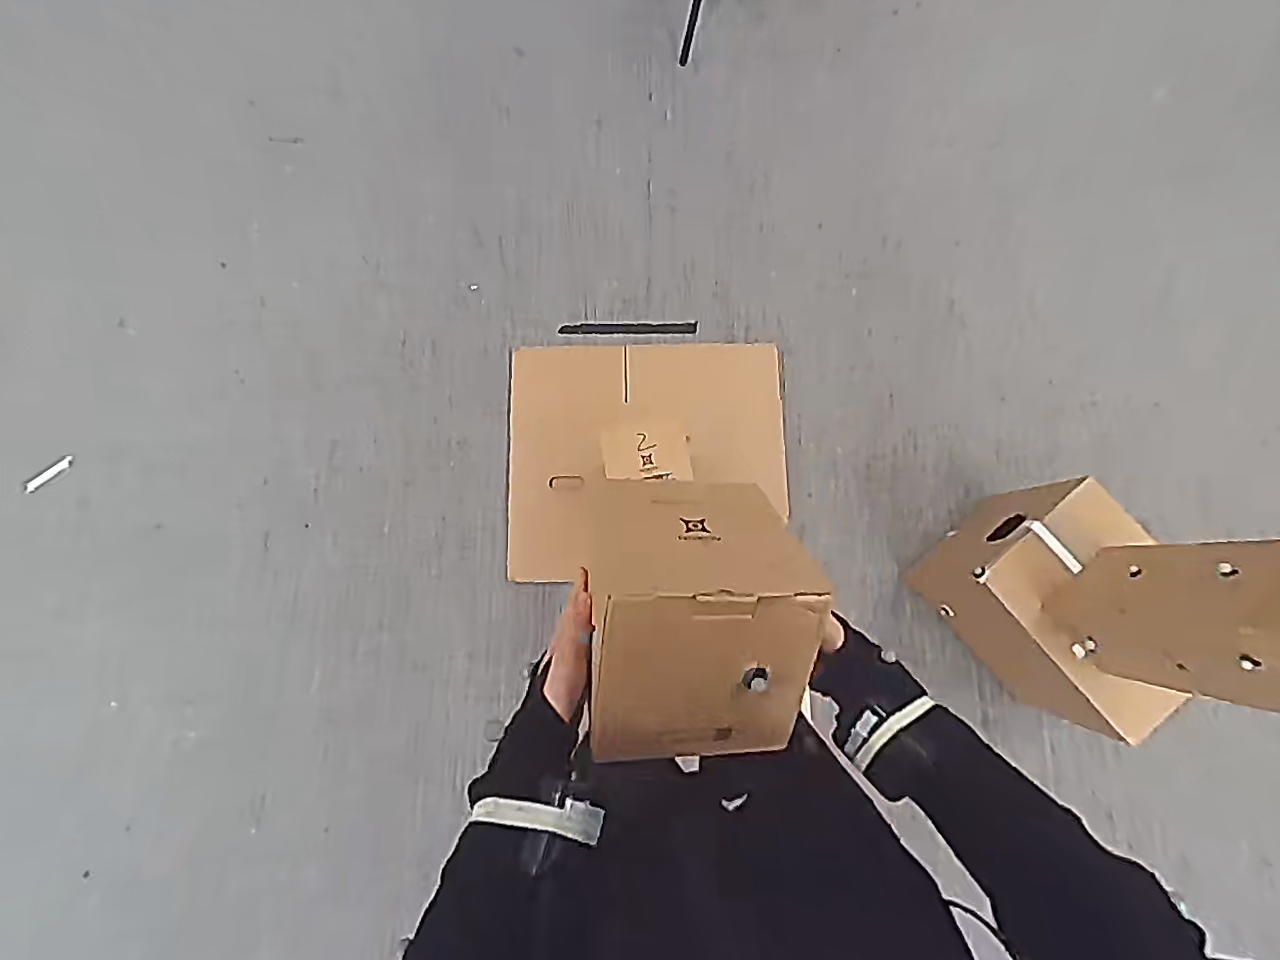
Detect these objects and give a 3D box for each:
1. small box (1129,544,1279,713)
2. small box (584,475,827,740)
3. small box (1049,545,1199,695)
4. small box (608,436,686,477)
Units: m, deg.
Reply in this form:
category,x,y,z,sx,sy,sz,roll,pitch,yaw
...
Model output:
category,x,y,z,sx,sy,sz,roll,pitch,yaw
small box,0.869,0.201,0.765,0.179,0.176,0.168,-40,83,-6
small box,0.038,0.109,0.482,0.168,0.179,0.176,2,117,-9
small box,0.867,0.228,0.927,0.179,0.176,0.168,-40,83,-5
small box,0.022,0.009,1.270,0.168,0.176,0.179,-9,82,1
